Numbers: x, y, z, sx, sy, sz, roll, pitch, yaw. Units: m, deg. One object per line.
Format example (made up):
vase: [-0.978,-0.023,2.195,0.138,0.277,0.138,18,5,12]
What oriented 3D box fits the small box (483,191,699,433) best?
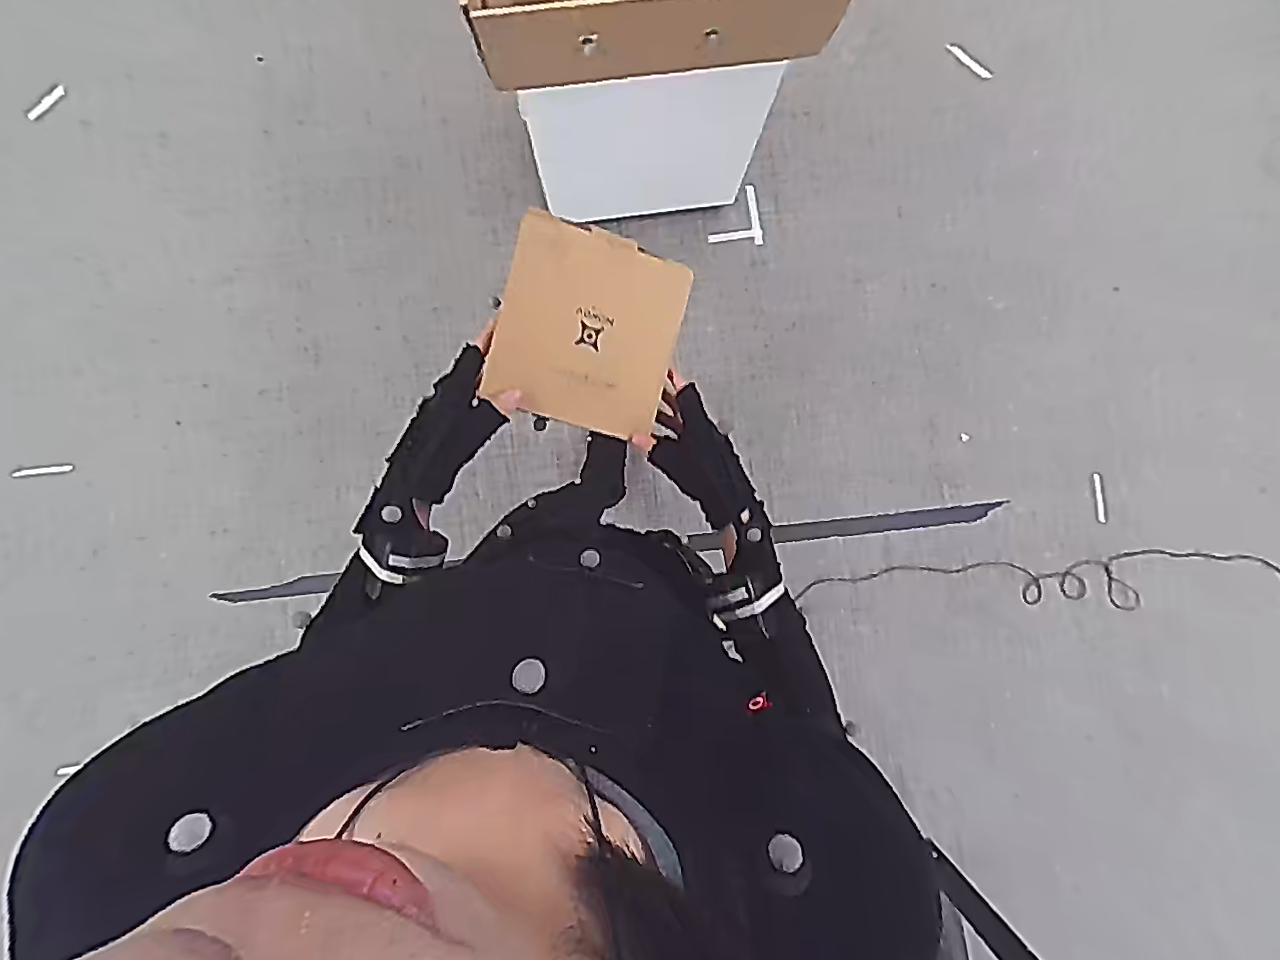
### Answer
small box: [-0.062,-0.158,0.567,0.168,0.176,0.179,15,94,-16]

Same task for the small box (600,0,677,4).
small box: [-0.005,-0.898,0.840,0.168,0.176,0.179,-6,94,-3]
